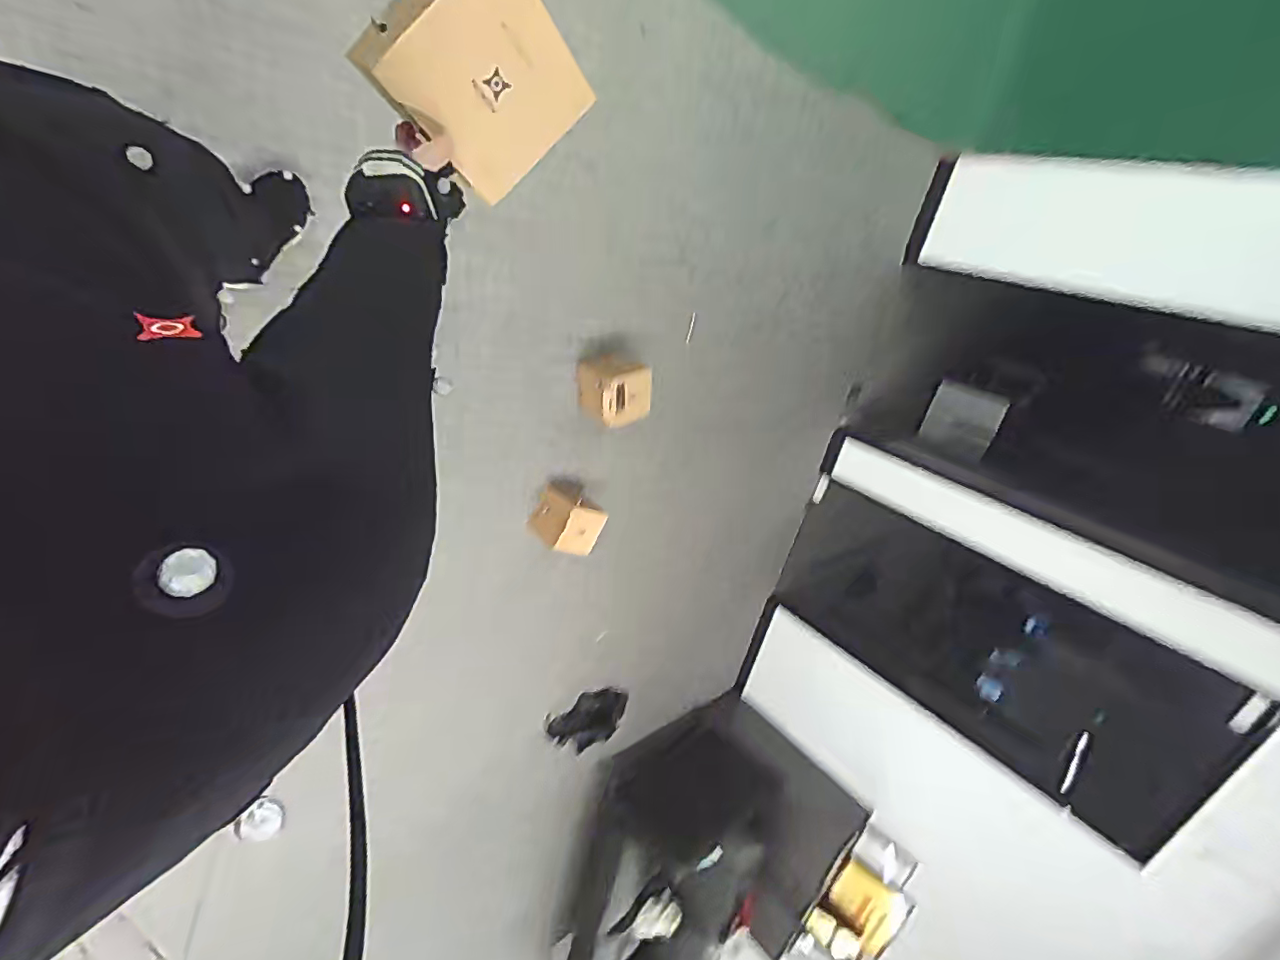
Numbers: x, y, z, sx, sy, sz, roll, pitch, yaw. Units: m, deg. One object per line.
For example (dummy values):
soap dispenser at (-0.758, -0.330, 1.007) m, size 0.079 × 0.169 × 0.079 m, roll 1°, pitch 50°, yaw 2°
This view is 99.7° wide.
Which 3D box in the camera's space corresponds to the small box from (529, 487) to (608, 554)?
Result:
small box at (-0.252, 0.139, 1.879) m, size 0.179 × 0.176 × 0.168 m, roll 17°, pitch 104°, yaw -50°
